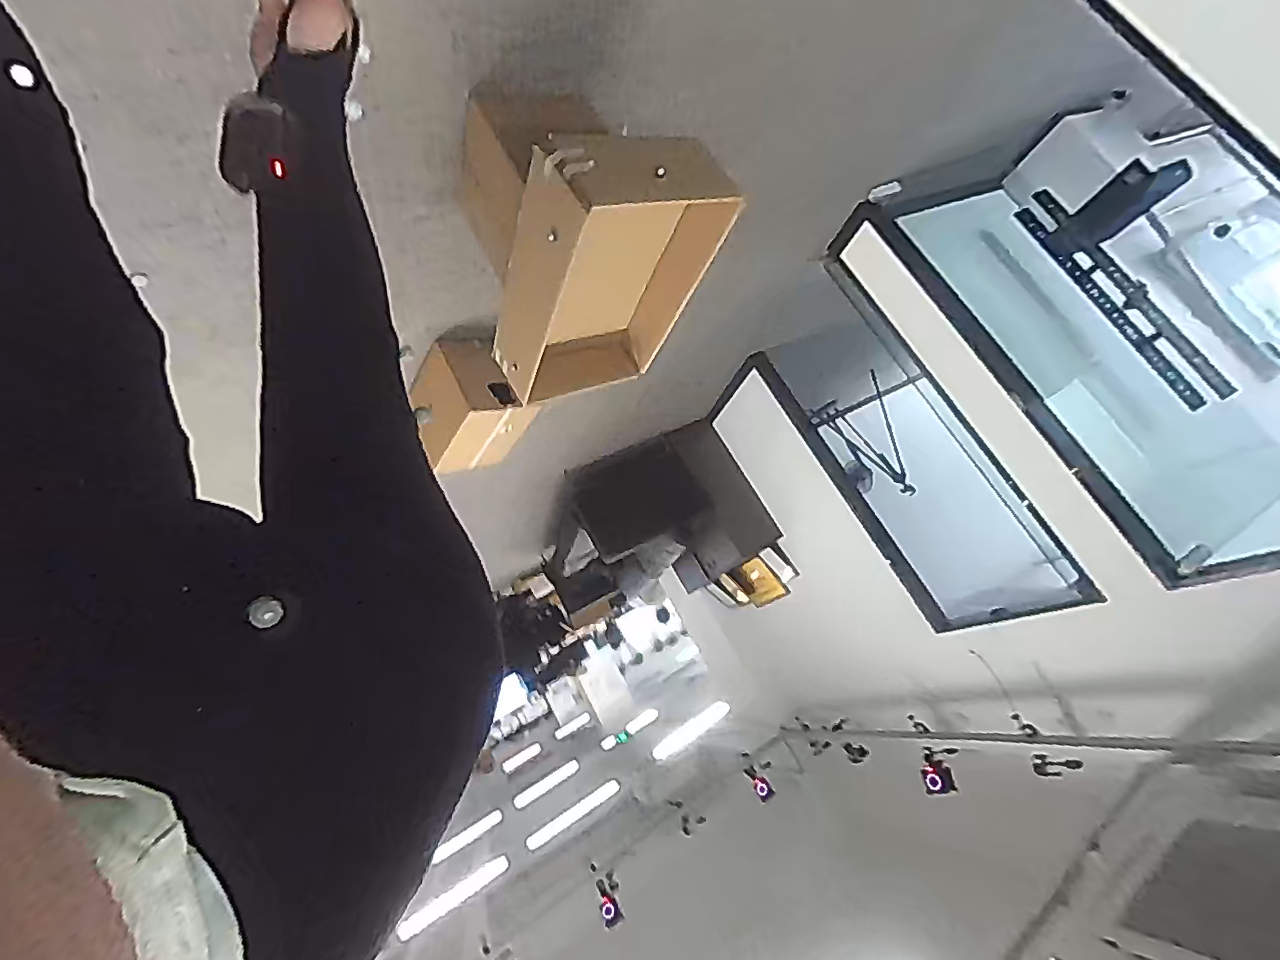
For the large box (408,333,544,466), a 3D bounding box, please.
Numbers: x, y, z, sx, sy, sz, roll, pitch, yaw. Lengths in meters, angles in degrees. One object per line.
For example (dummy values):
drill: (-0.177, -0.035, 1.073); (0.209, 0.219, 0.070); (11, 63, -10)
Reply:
large box: (-0.637, -0.306, 2.061); (0.320, 0.320, 0.408); (-16, 160, -46)
